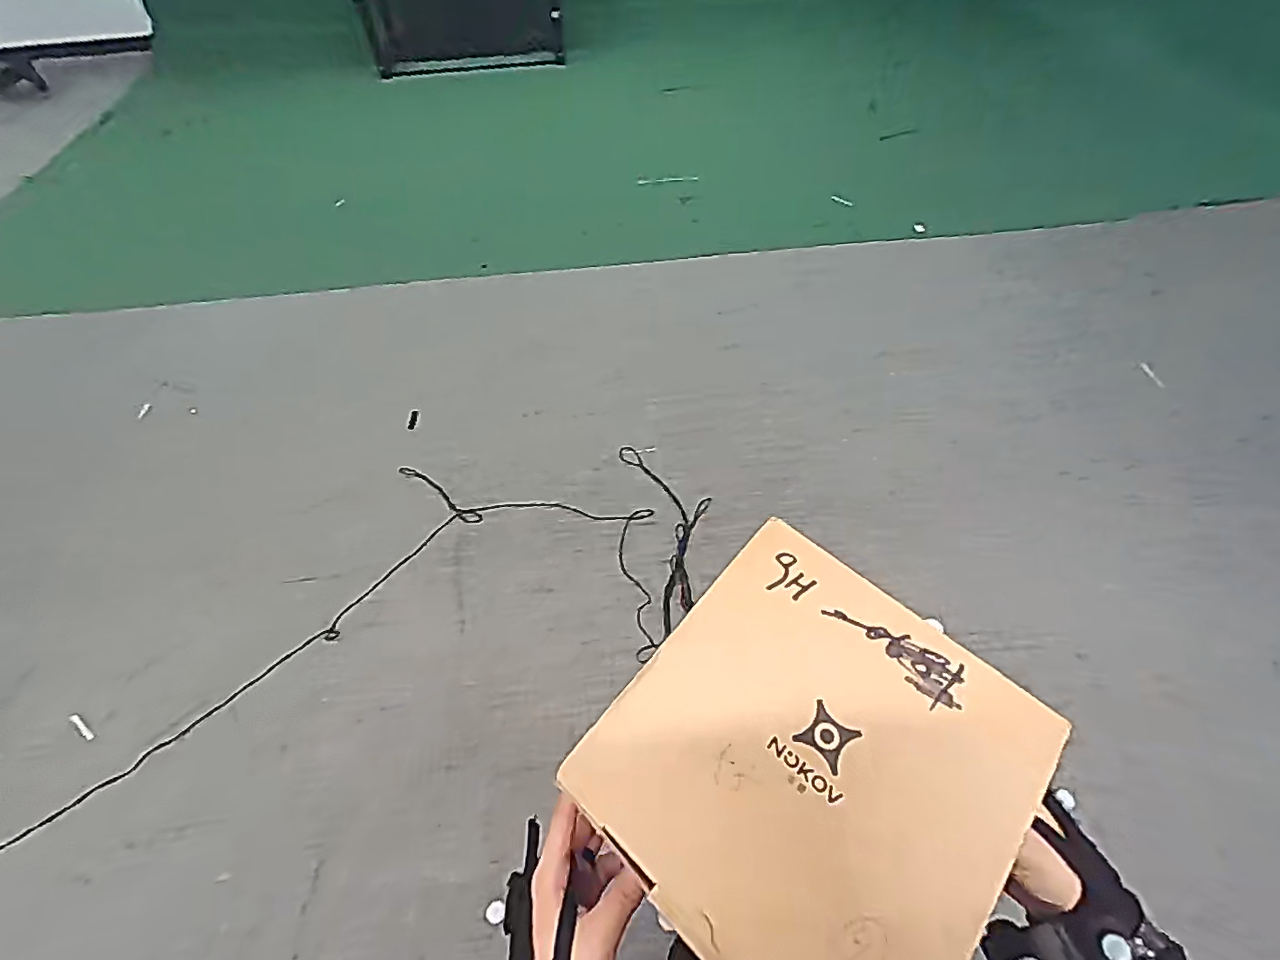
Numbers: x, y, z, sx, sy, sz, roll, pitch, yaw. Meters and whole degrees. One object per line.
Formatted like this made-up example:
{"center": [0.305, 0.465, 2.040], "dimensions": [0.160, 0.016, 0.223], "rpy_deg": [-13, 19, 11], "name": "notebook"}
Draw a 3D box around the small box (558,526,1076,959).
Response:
{"center": [0.083, 0.166, 0.311], "dimensions": [0.168, 0.176, 0.179], "rpy_deg": [37, 68, 22], "name": "small box"}
